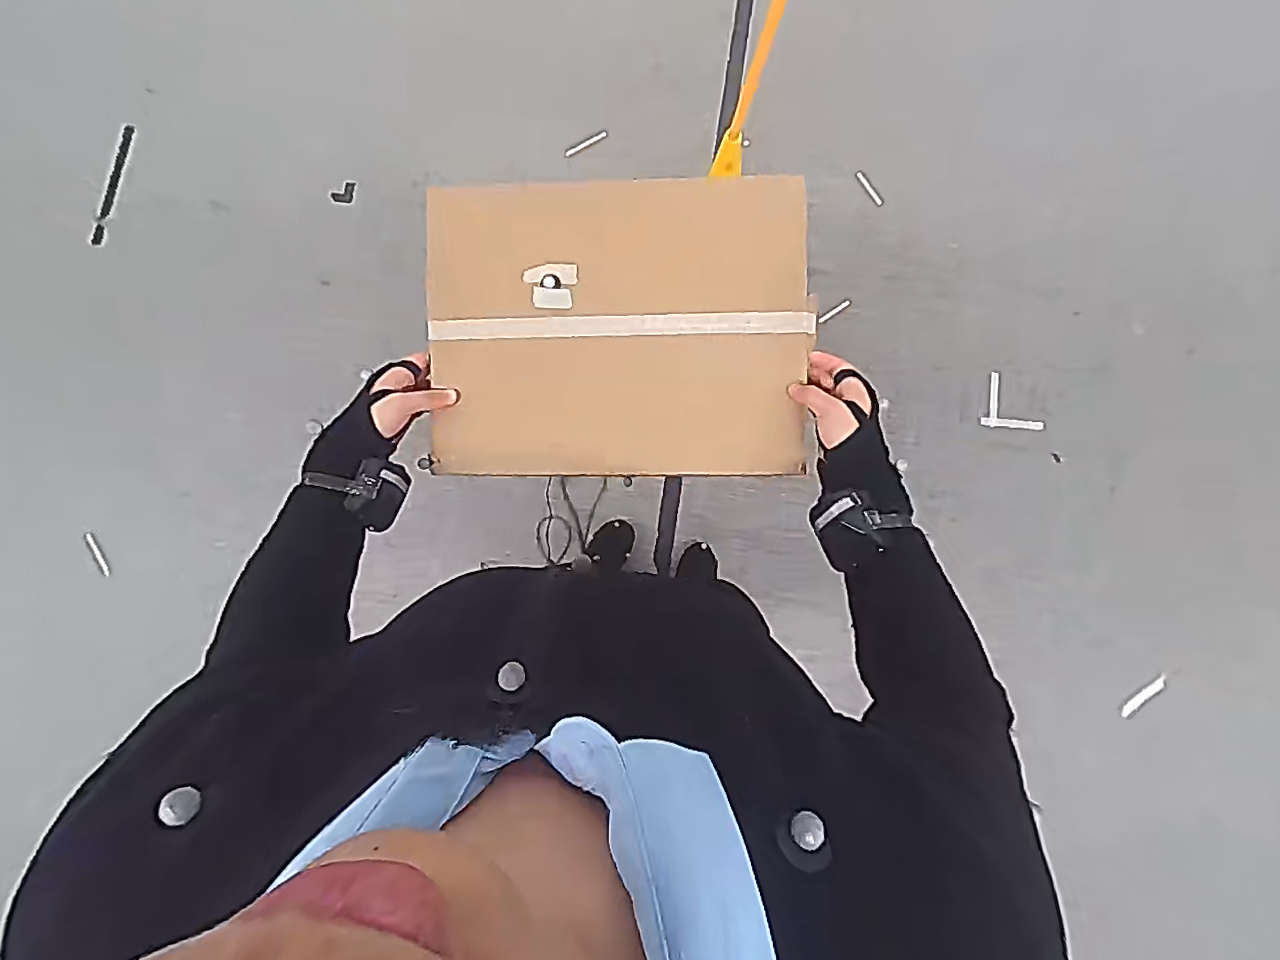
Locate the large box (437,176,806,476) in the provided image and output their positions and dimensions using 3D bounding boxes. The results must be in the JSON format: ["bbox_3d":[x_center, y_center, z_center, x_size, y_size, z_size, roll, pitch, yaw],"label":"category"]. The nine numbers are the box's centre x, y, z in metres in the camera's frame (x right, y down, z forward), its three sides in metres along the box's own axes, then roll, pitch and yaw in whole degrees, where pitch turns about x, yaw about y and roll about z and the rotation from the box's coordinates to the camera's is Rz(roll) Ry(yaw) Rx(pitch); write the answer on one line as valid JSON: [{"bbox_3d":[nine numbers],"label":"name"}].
[{"bbox_3d":[-0.012,-0.166,0.735,0.408,0.320,0.320,-1,90,5],"label":"large box"}]
